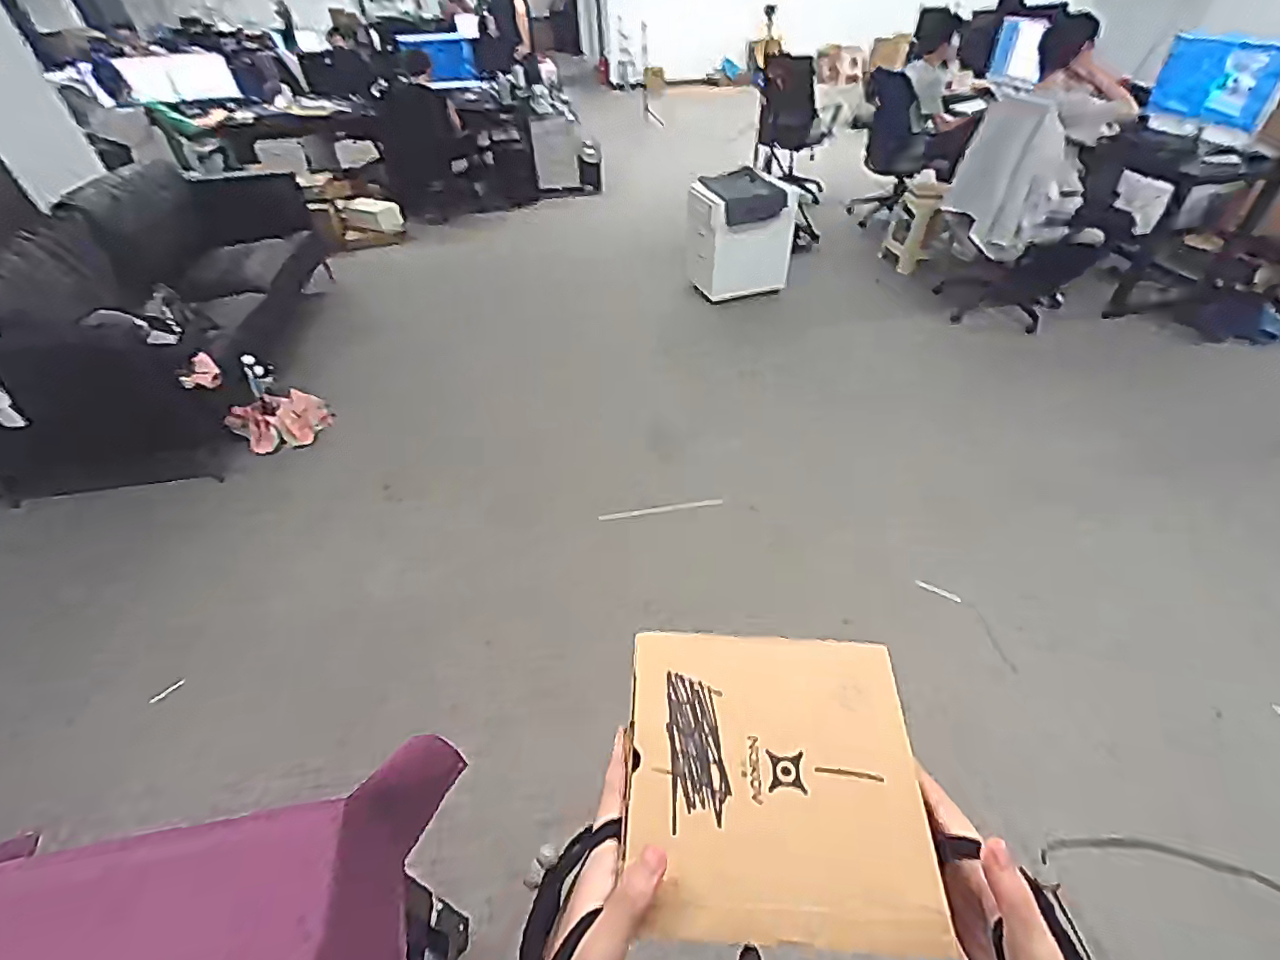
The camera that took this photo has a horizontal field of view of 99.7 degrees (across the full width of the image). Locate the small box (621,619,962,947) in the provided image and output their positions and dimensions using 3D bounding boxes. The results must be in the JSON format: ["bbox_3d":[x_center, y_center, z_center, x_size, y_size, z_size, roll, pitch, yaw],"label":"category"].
[{"bbox_3d":[0.081,0.215,0.385,0.179,0.176,0.168,4,52,1],"label":"small box"}]
